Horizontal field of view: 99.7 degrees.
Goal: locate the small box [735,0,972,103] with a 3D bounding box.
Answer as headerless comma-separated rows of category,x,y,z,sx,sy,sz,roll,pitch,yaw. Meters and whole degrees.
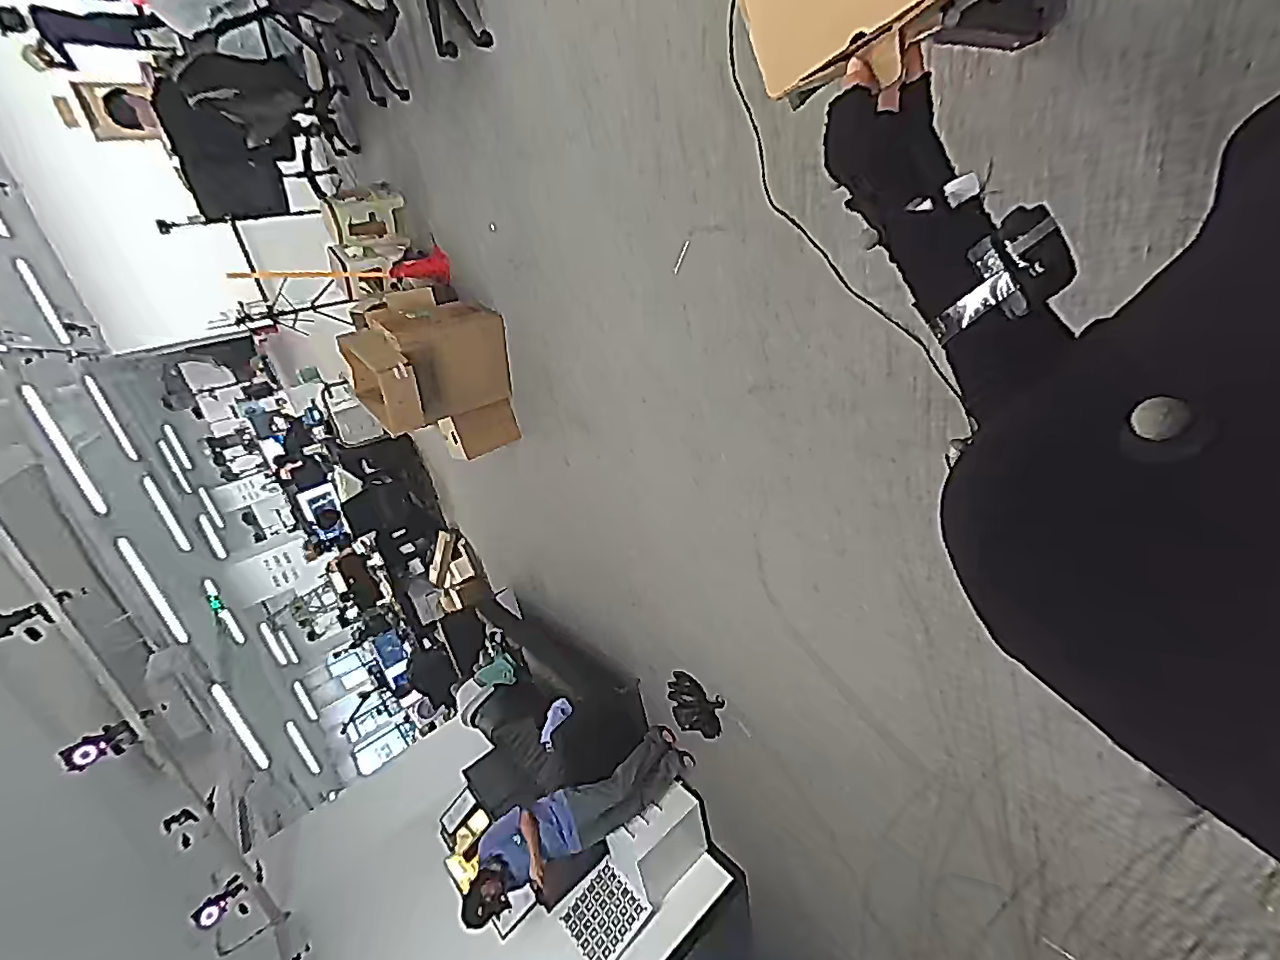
small box,0.178,-0.436,0.411,0.168,0.176,0.179,1,123,52
